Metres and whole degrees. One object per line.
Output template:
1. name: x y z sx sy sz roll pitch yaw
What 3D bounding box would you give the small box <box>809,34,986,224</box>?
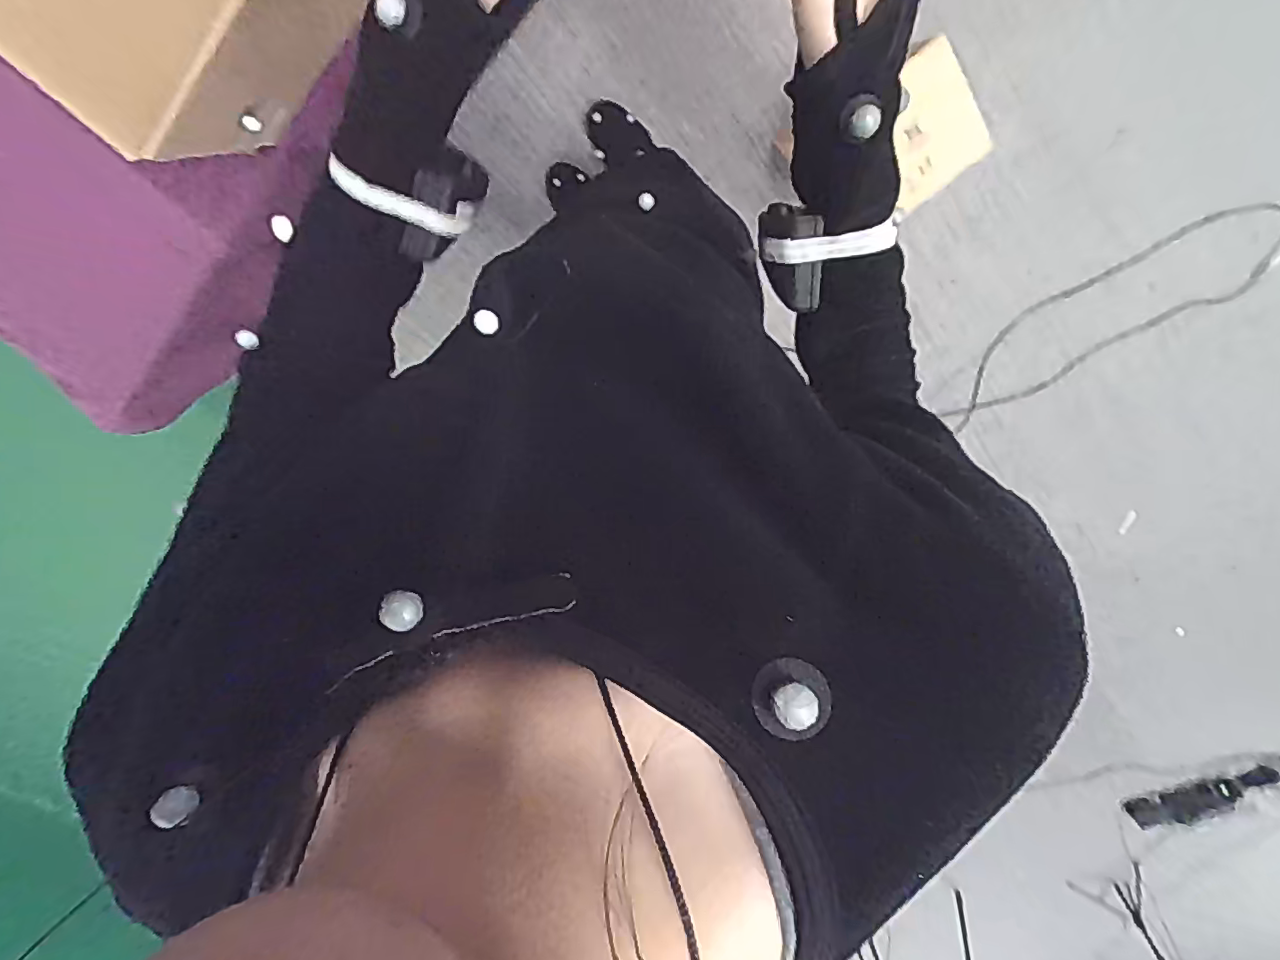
1. small box: 0.390 -0.538 0.847 0.168 0.176 0.179 -35 117 22

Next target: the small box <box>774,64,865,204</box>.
1. small box: 0.400 -0.714 1.126 0.168 0.176 0.179 38 116 -23
